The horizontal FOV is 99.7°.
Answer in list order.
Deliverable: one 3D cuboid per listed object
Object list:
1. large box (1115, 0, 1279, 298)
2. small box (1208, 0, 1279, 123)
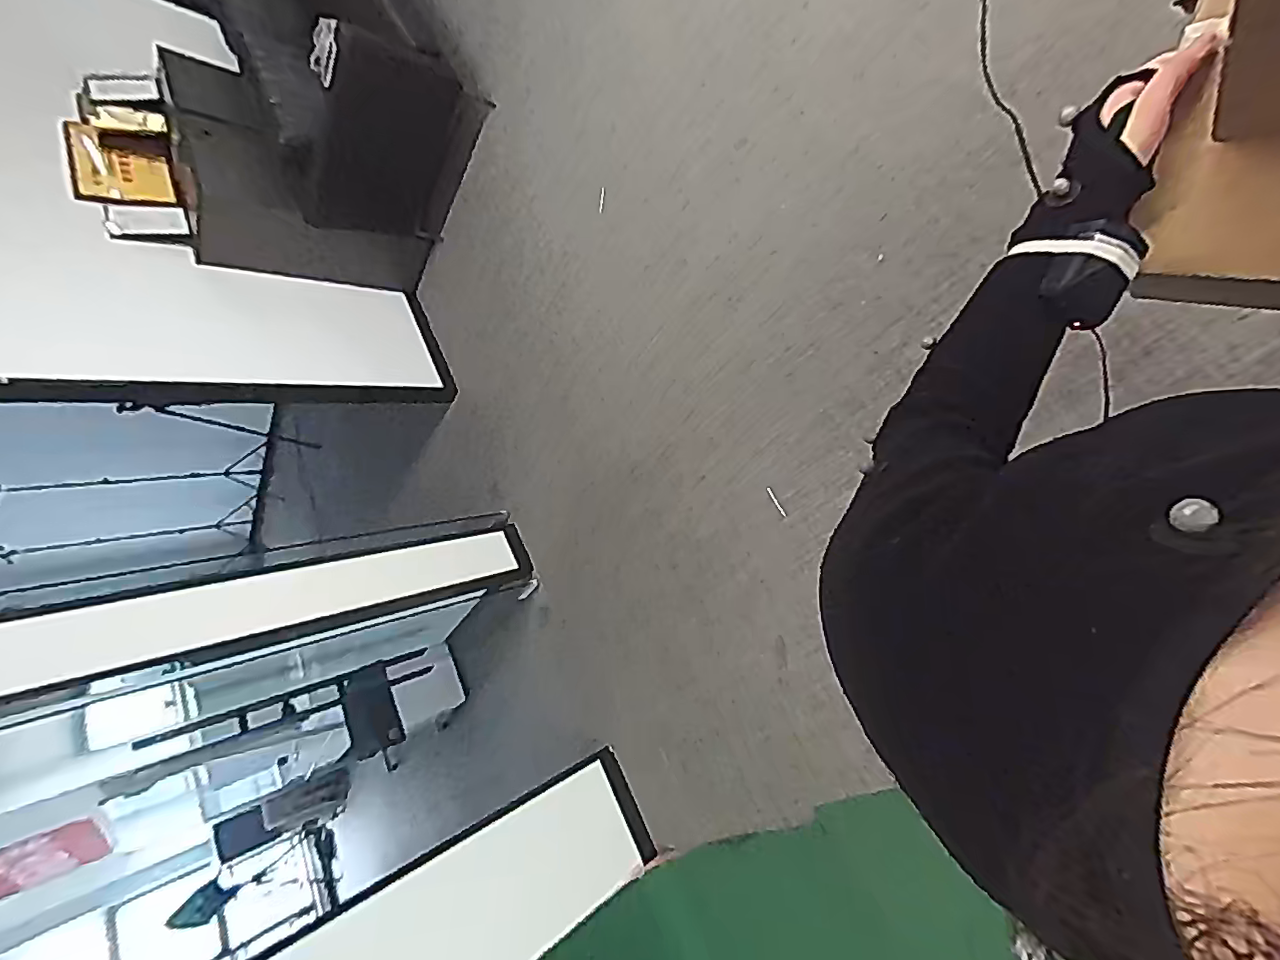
[{"bbox_3d":[0.641,-0.291,0.372,0.408,0.320,0.320,22,116,39],"label":"large box"},{"bbox_3d":[0.413,-0.294,0.249,0.179,0.176,0.168,19,112,42],"label":"small box"}]
